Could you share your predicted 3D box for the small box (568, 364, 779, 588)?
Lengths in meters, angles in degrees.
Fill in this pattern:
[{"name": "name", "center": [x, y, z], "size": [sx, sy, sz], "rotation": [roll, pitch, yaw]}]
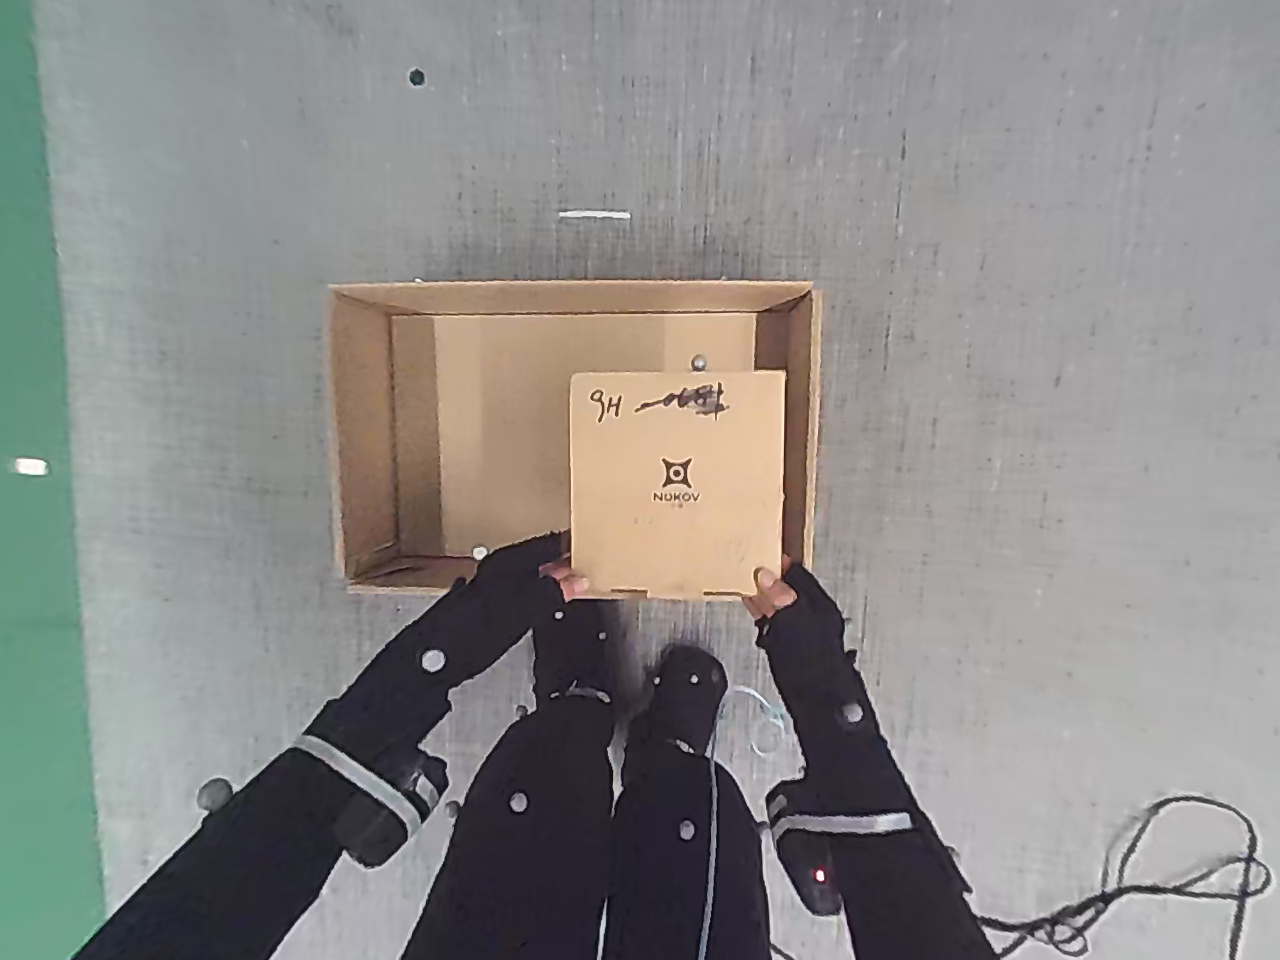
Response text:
[{"name": "small box", "center": [0.035, -0.008, 0.506], "size": [0.168, 0.176, 0.179], "rotation": [-2, 95, 5]}]
